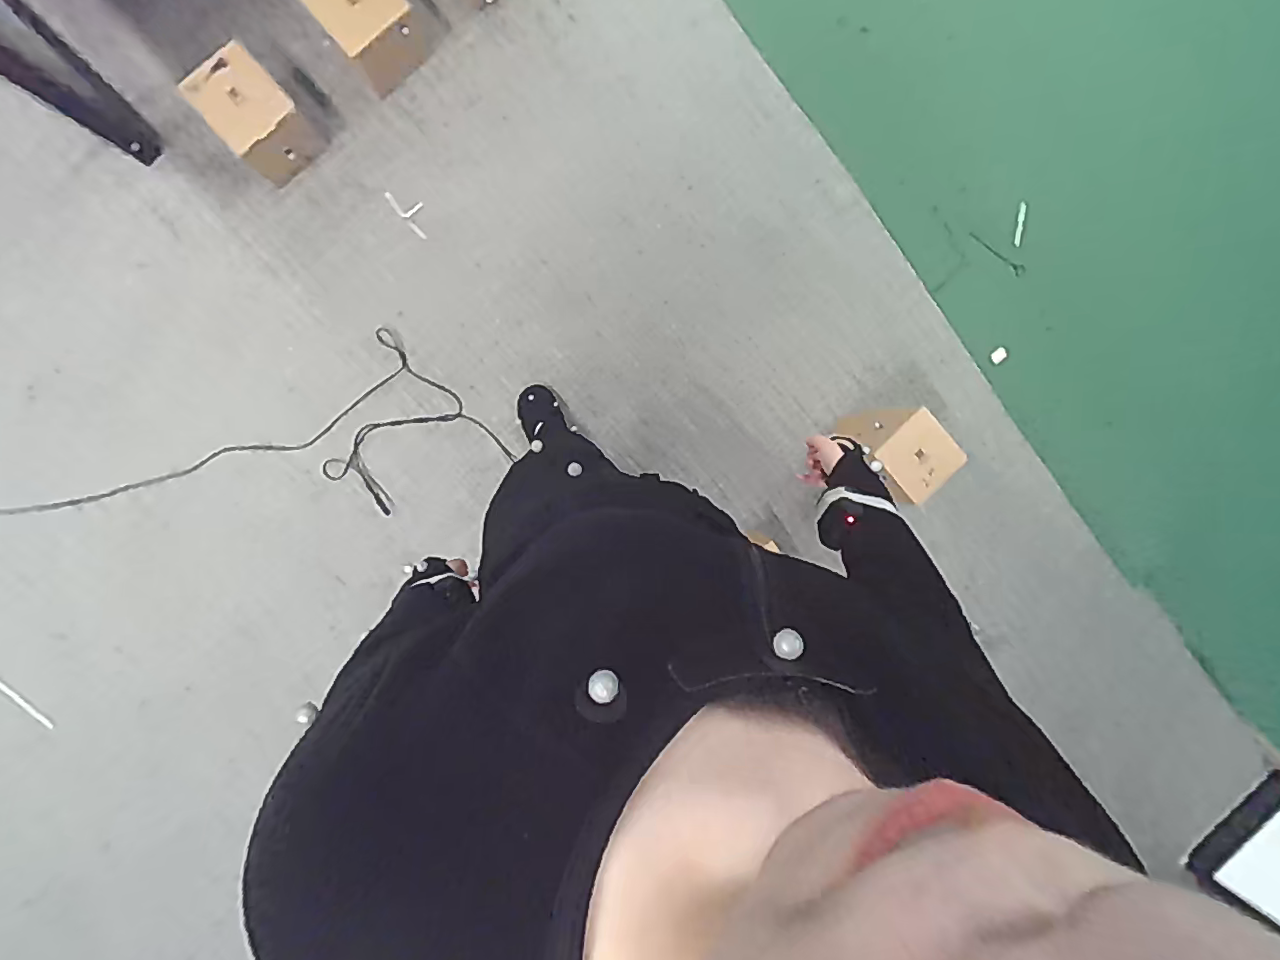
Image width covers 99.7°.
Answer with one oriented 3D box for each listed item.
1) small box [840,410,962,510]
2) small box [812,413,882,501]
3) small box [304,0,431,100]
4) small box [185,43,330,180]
[{"bbox_3d":[0.630,-0.052,1.329,0.168,0.176,0.179,-43,99,0],"label":"small box"},{"bbox_3d":[0.610,-0.064,1.492,0.168,0.176,0.179,-42,99,-1],"label":"small box"},{"bbox_3d":[-0.615,-1.037,1.248,0.179,0.176,0.168,-43,99,-2],"label":"small box"},{"bbox_3d":[-0.859,-0.823,1.237,0.168,0.176,0.179,-41,100,-1],"label":"small box"}]
